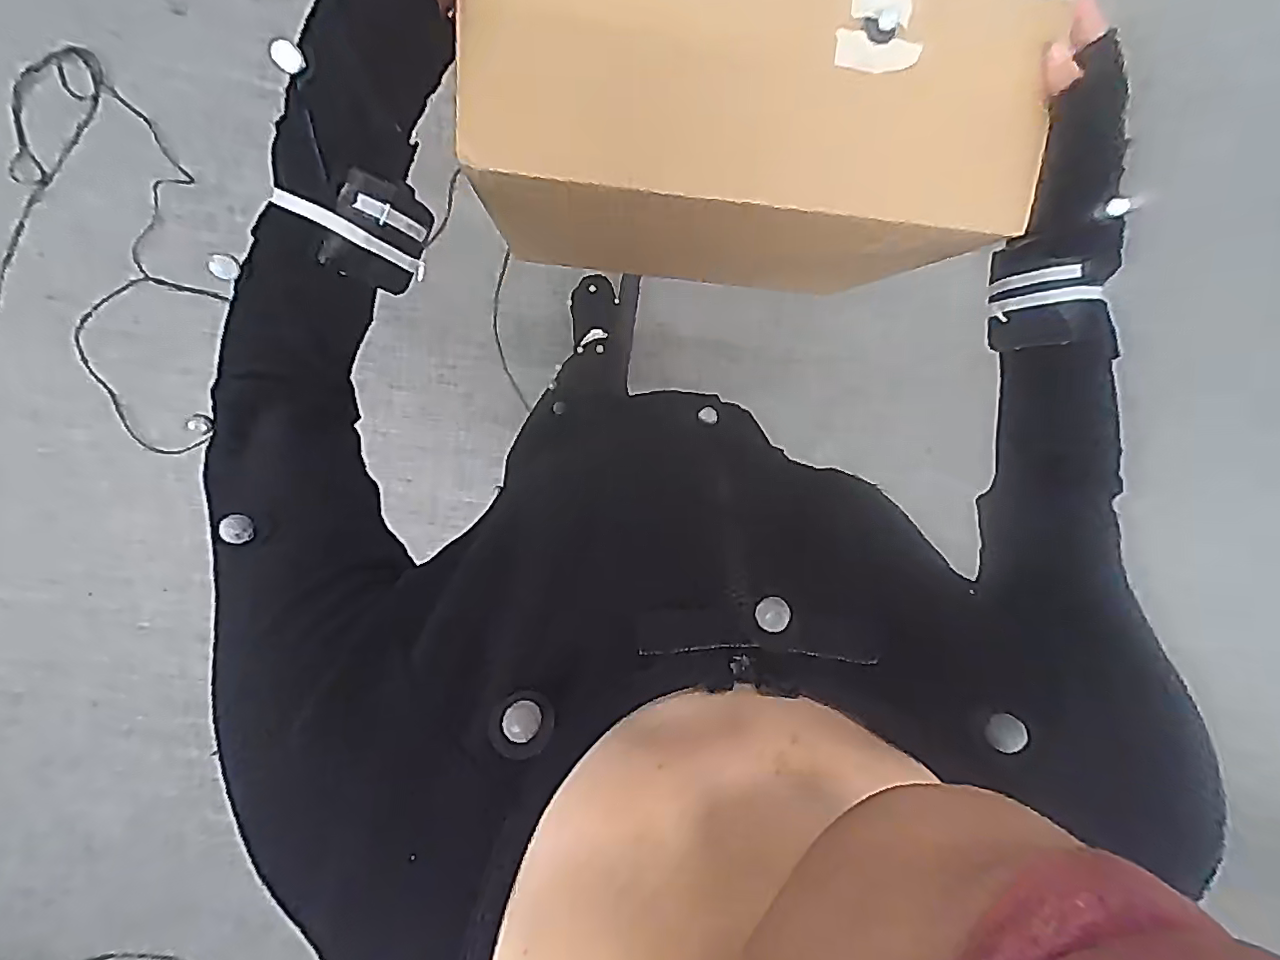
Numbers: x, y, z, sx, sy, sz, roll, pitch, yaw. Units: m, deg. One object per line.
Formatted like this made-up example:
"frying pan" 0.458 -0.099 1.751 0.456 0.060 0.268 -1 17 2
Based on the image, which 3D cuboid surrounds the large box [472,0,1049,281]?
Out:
"large box" 0.074 -0.384 0.502 0.408 0.320 0.320 3 101 -7
